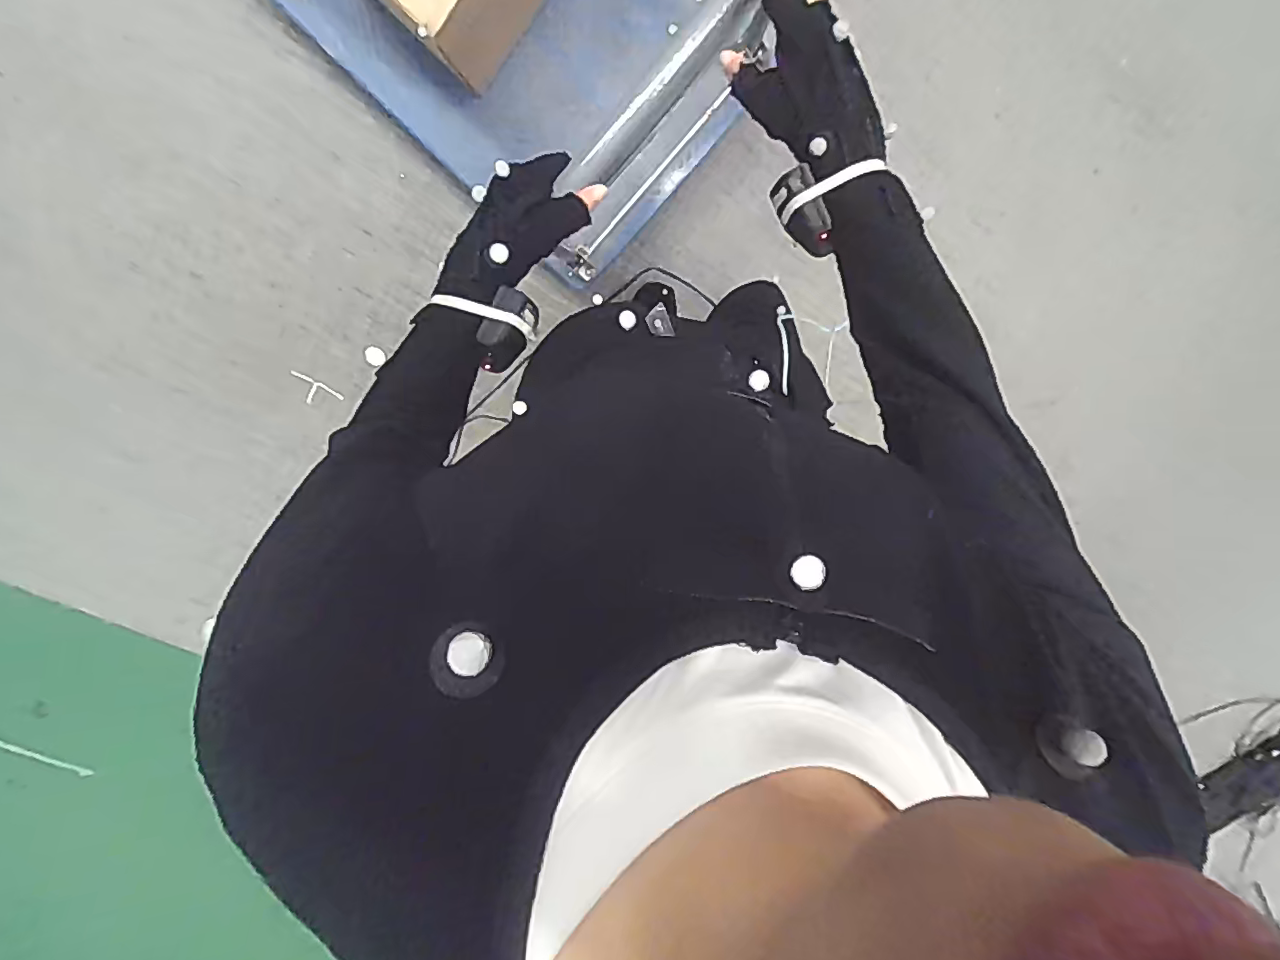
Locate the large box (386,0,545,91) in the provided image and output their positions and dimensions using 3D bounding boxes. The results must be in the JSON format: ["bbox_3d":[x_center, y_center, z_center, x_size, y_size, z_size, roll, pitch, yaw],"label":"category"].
[{"bbox_3d":[-0.268,-0.897,0.787,0.320,0.320,0.408,39,106,-16],"label":"large box"}]
